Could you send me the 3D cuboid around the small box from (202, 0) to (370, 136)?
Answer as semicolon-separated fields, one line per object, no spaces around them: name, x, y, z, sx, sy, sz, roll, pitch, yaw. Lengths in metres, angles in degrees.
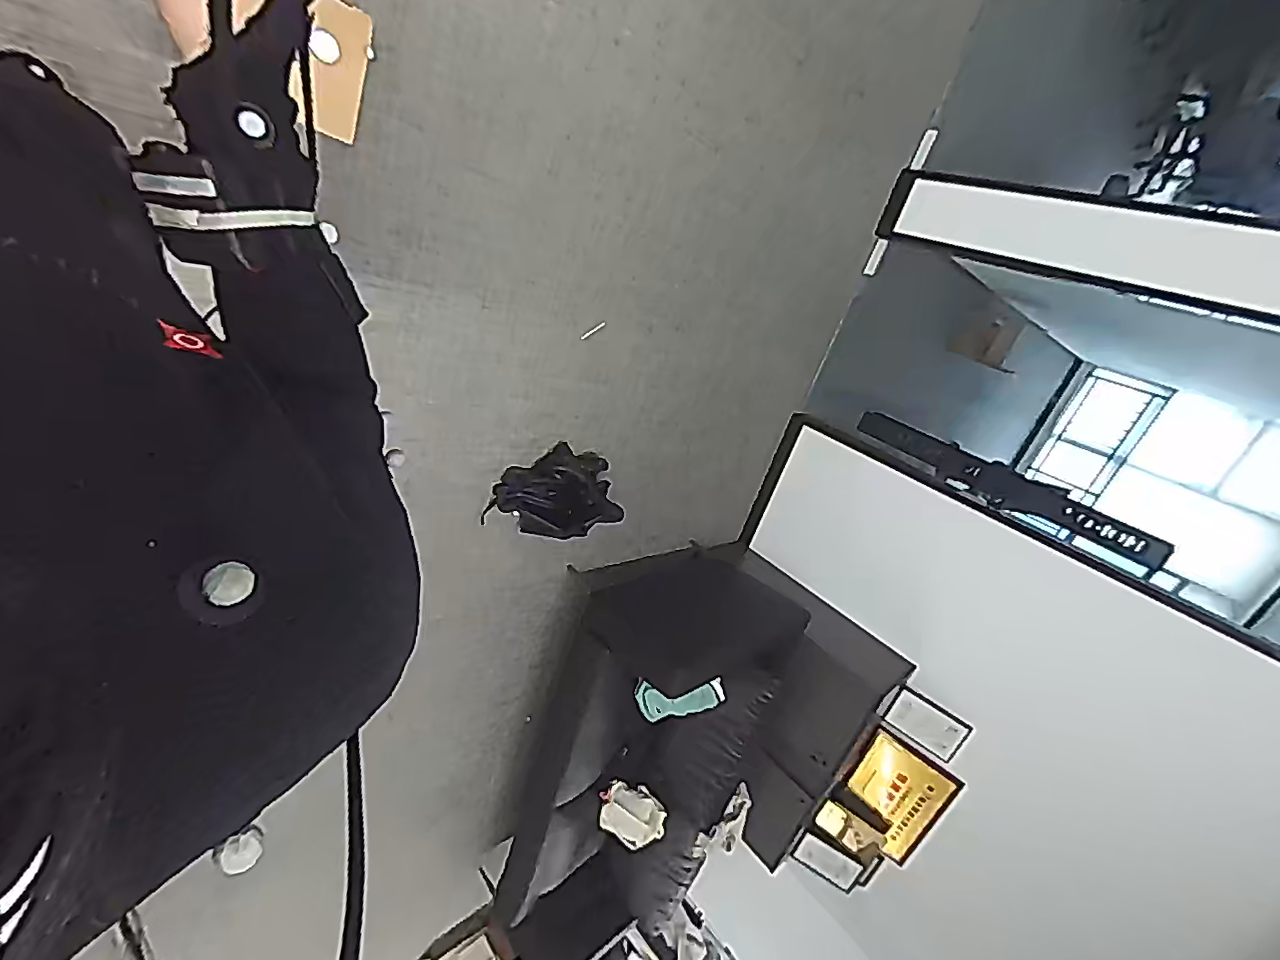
small box;-0.528;-0.647;0.800;0.168;0.176;0.179;0;119;-47
